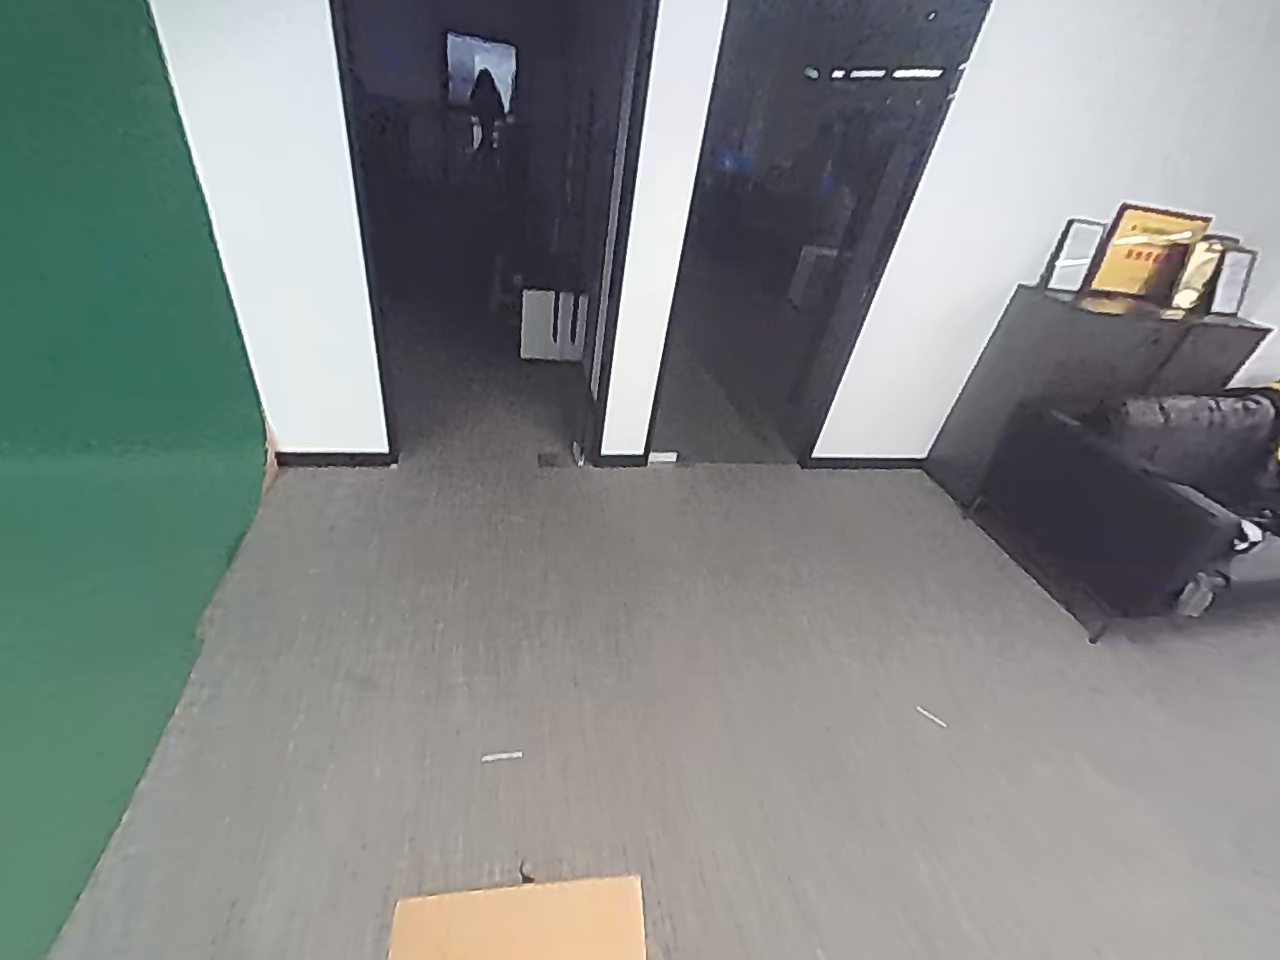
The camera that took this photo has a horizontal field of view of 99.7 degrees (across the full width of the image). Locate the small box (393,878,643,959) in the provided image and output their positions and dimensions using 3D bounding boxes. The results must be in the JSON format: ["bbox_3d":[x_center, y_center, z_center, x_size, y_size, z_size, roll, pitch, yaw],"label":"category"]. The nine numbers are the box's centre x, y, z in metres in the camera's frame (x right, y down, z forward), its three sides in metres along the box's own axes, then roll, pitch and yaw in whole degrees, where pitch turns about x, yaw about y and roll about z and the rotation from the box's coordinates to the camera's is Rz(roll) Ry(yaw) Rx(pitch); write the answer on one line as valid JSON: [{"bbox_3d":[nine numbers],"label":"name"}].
[{"bbox_3d":[-0.092,0.401,0.387,0.168,0.176,0.179,4,54,-13],"label":"small box"}]
